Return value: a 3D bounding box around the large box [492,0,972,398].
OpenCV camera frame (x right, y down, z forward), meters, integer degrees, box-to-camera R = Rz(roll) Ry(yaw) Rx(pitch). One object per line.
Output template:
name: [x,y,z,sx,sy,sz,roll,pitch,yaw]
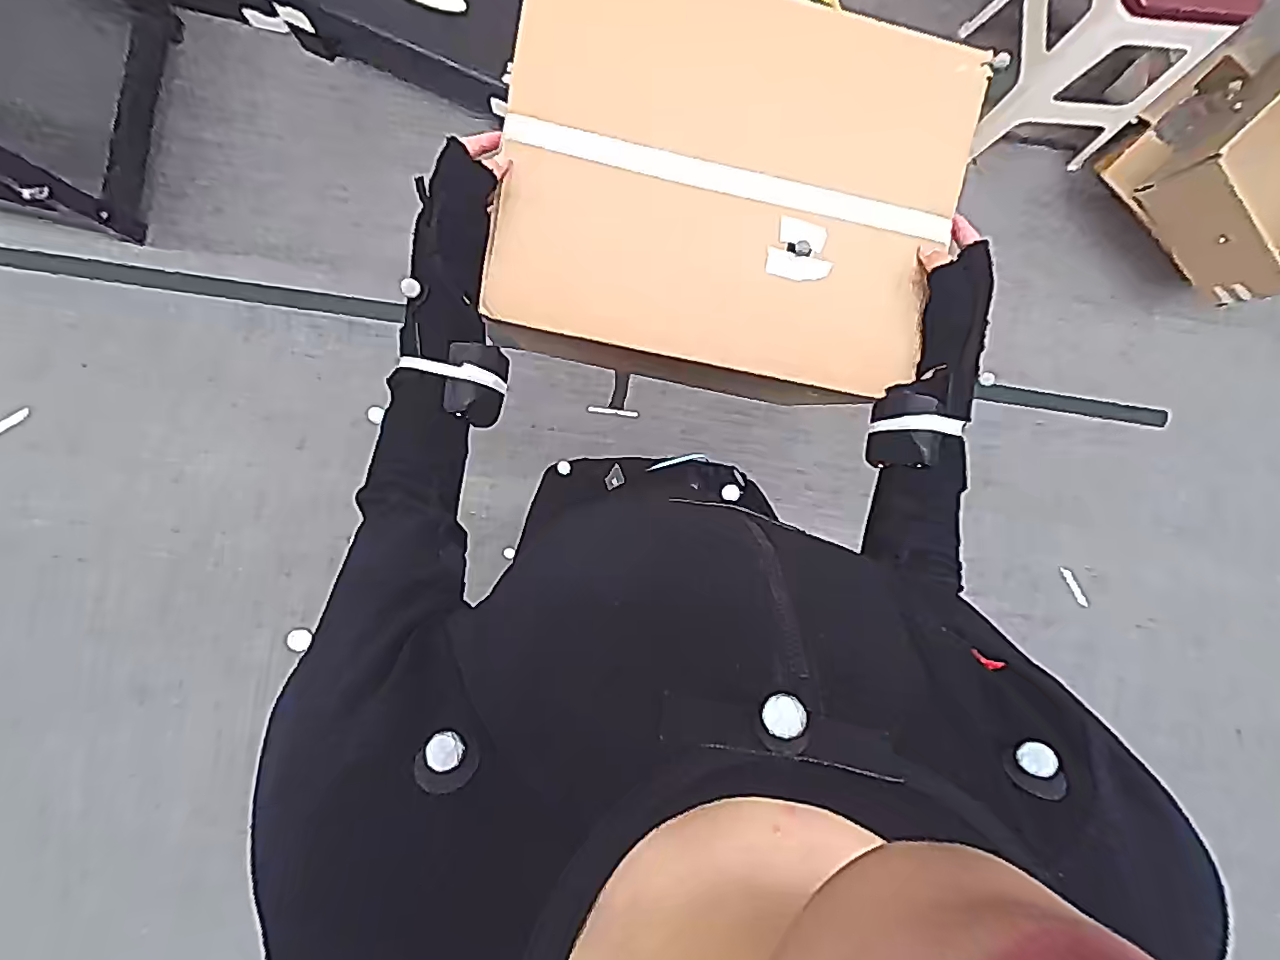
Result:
large box: [0.070,-0.286,0.638,0.408,0.320,0.320,11,98,-7]
